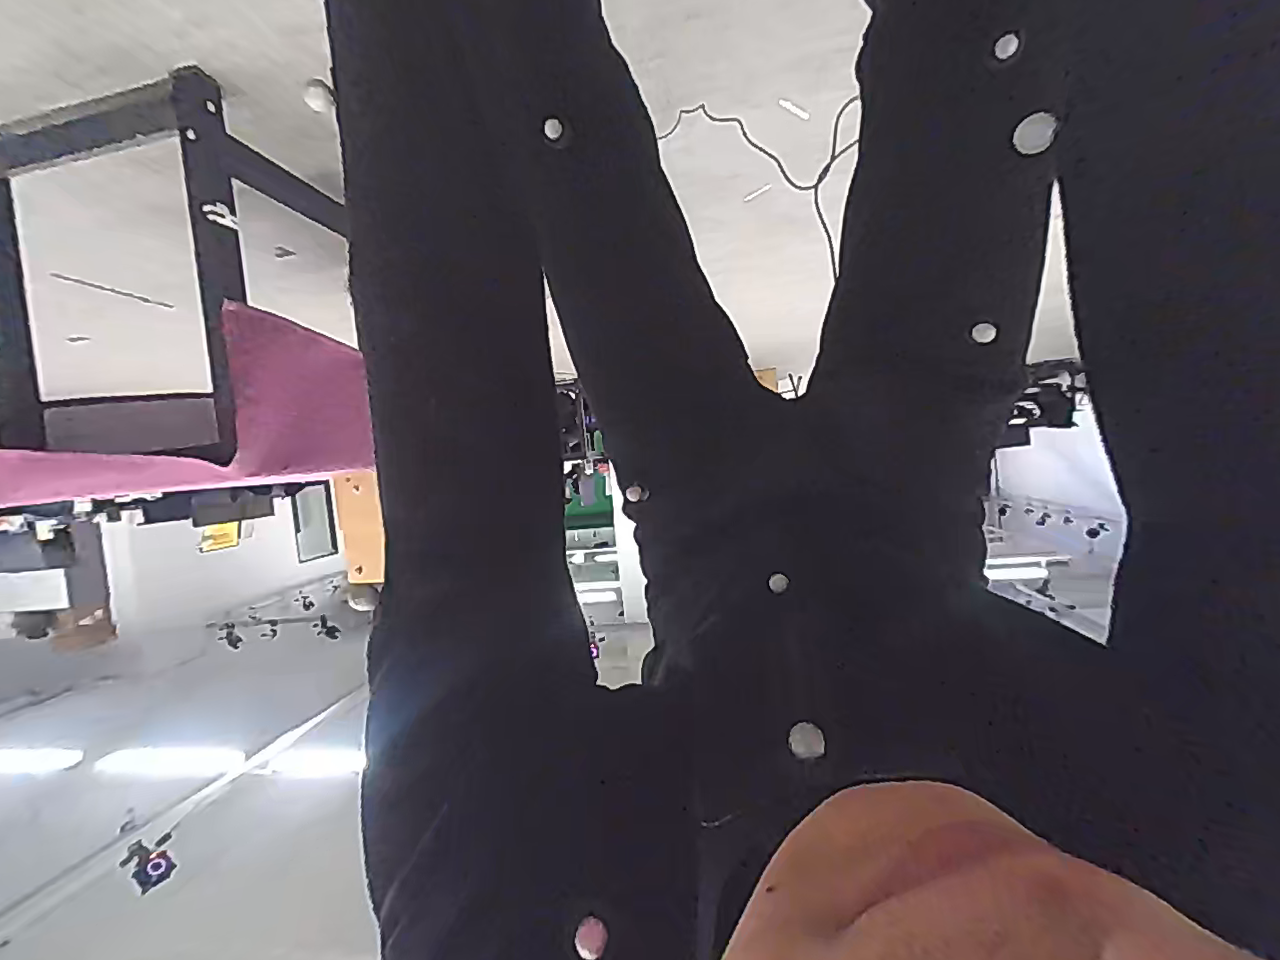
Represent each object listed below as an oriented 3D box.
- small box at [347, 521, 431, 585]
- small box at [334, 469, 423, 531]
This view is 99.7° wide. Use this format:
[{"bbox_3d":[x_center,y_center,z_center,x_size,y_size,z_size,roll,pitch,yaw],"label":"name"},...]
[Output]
[{"bbox_3d":[-0.776,0.220,1.669,0.179,0.176,0.168,-5,-177,15],"label":"small box"},{"bbox_3d":[-0.790,0.057,1.639,0.168,0.176,0.179,-5,-178,20],"label":"small box"}]
